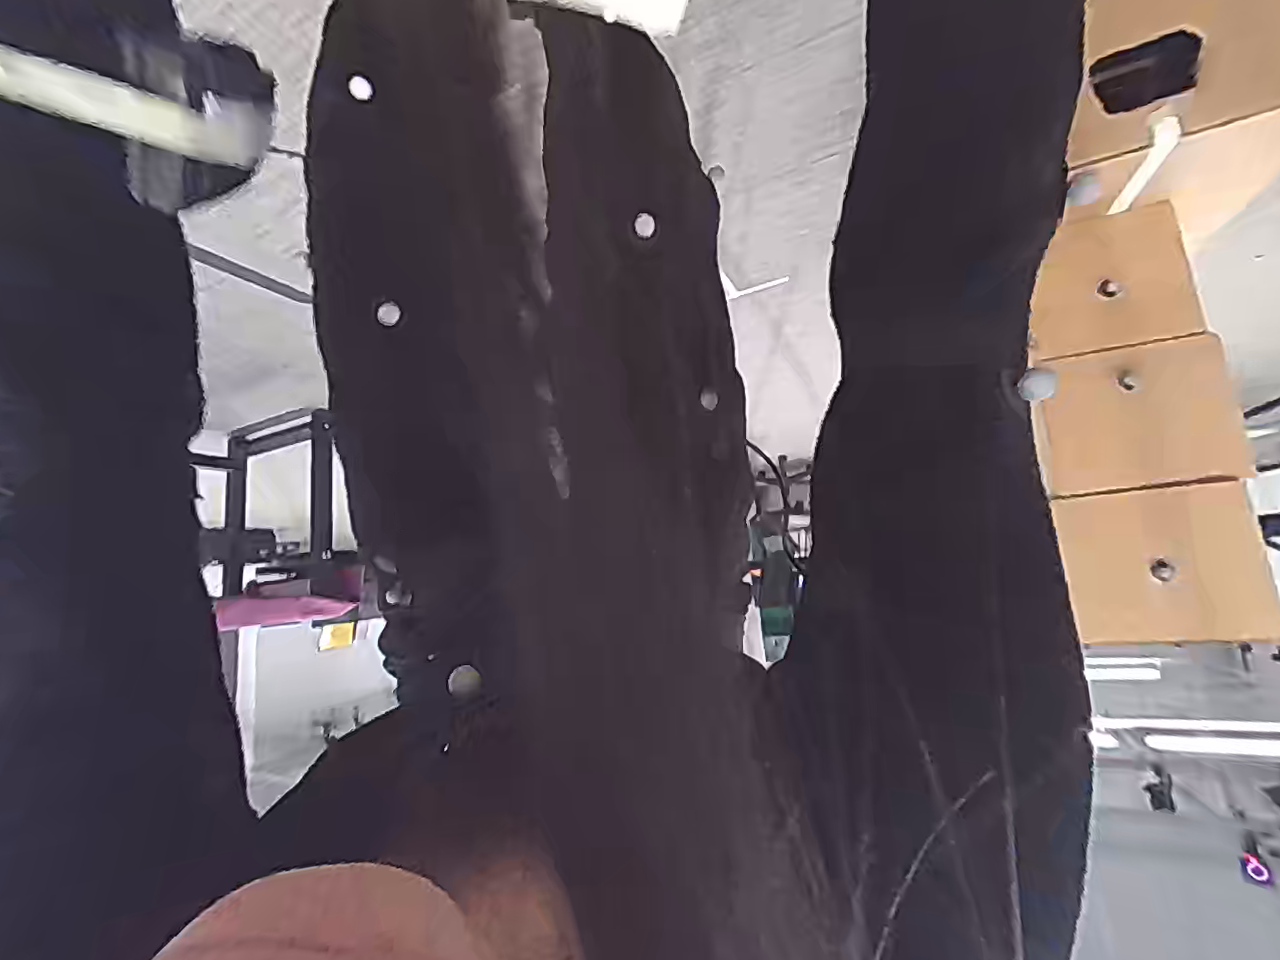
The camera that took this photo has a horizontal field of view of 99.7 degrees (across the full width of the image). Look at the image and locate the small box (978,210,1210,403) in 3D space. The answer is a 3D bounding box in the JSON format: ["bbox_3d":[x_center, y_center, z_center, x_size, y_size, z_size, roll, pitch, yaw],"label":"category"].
[{"bbox_3d":[0.573,-0.218,0.716,0.179,0.176,0.168,-9,170,19],"label":"small box"}]

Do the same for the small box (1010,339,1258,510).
[{"bbox_3d":[0.597,-0.059,0.685,0.179,0.176,0.168,-8,170,22],"label":"small box"}]
